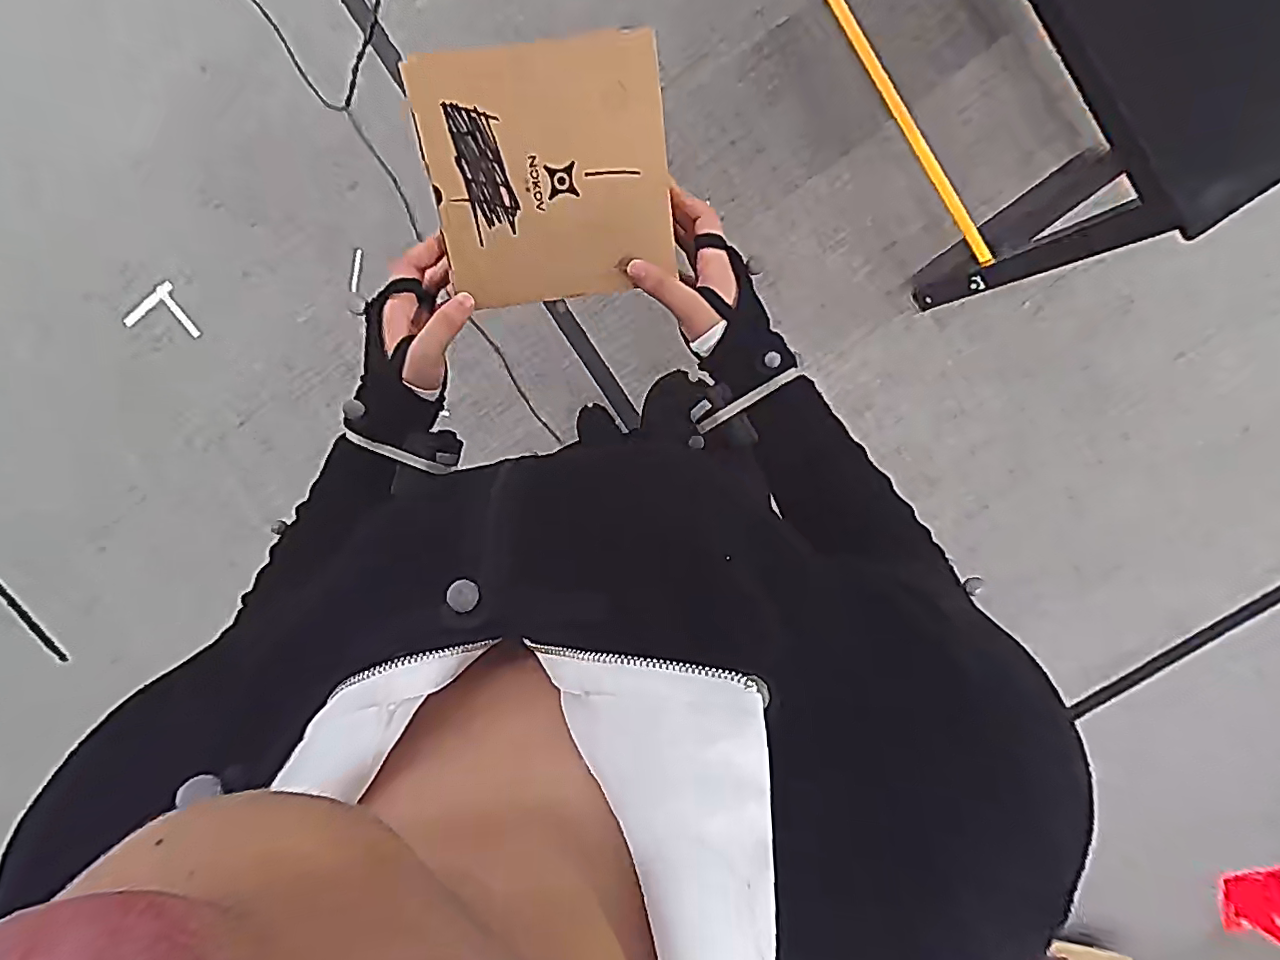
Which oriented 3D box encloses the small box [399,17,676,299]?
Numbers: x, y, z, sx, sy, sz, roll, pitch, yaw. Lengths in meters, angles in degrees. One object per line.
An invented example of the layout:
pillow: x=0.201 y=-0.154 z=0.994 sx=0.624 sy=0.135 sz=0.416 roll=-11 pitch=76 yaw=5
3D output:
small box: x=-0.070 y=-0.251 z=0.459 sx=0.179 sy=0.176 sz=0.168 roll=-8 pitch=113 yaw=-2
